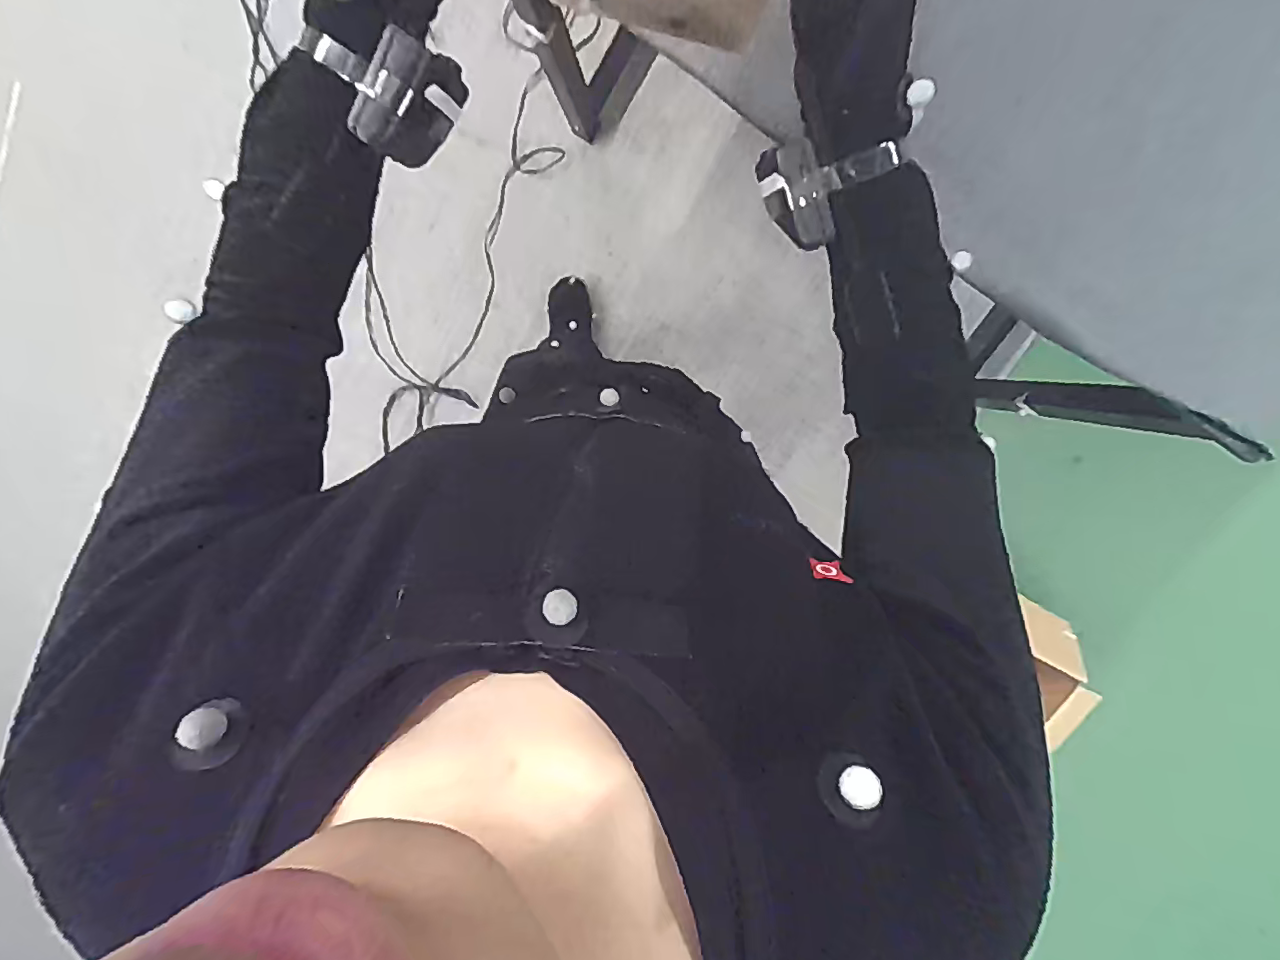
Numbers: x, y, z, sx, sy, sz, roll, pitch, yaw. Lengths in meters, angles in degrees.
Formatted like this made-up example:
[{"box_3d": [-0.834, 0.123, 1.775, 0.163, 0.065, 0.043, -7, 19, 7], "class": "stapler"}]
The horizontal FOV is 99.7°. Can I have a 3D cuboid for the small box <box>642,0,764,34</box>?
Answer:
[{"box_3d": [0.030, -0.428, 0.331, 0.168, 0.176, 0.179, 13, 105, -4], "class": "small box"}]
